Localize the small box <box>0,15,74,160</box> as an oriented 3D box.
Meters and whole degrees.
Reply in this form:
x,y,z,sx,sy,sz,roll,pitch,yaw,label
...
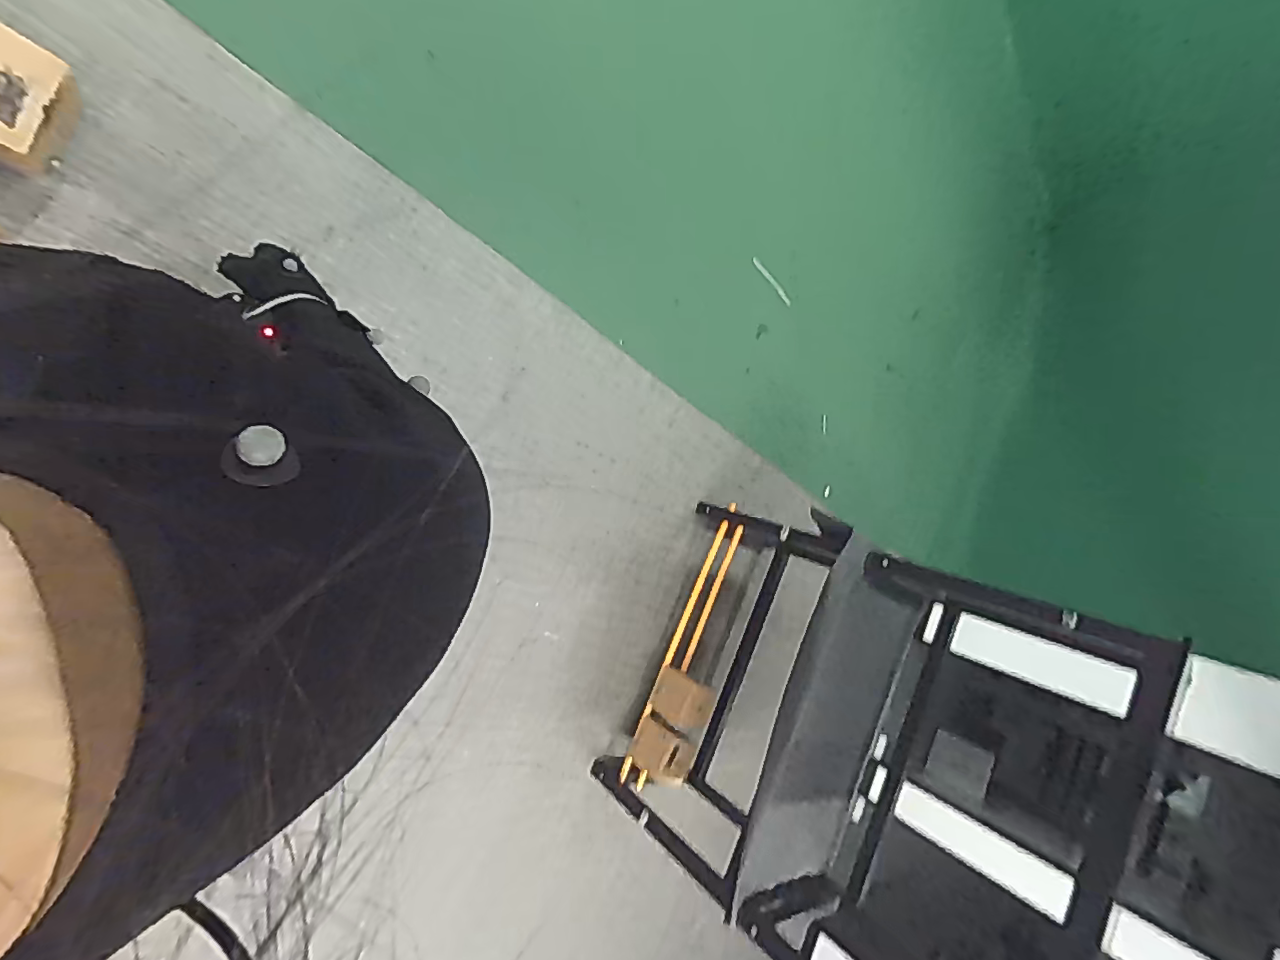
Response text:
x,y,z,sx,sy,sz,roll,pitch,yaw,label
-1.041,-0.637,0.845,0.179,0.176,0.168,27,83,-41,small box
